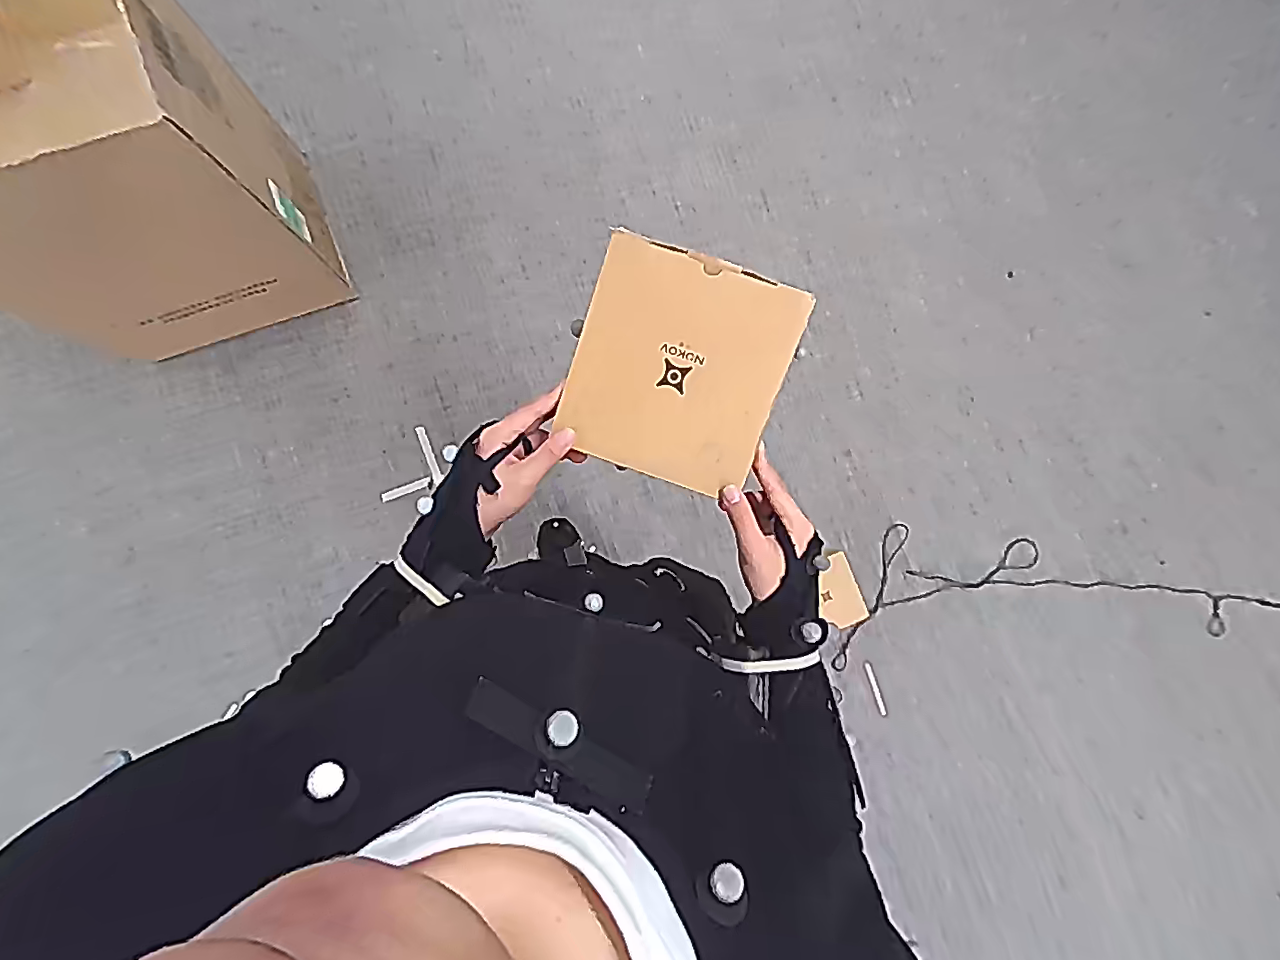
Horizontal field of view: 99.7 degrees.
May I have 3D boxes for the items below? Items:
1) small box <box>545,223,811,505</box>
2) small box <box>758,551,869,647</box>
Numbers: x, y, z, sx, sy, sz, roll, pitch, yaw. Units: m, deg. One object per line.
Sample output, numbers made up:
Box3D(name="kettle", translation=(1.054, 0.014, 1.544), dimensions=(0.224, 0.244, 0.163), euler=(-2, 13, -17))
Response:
Box3D(name="small box", translation=(0.033, -0.098, 0.495), dimensions=(0.168, 0.176, 0.179), euler=(19, 99, 1))
Box3D(name="small box", translation=(0.411, 0.278, 1.307), dimensions=(0.179, 0.176, 0.168), euler=(-21, 87, -5))
